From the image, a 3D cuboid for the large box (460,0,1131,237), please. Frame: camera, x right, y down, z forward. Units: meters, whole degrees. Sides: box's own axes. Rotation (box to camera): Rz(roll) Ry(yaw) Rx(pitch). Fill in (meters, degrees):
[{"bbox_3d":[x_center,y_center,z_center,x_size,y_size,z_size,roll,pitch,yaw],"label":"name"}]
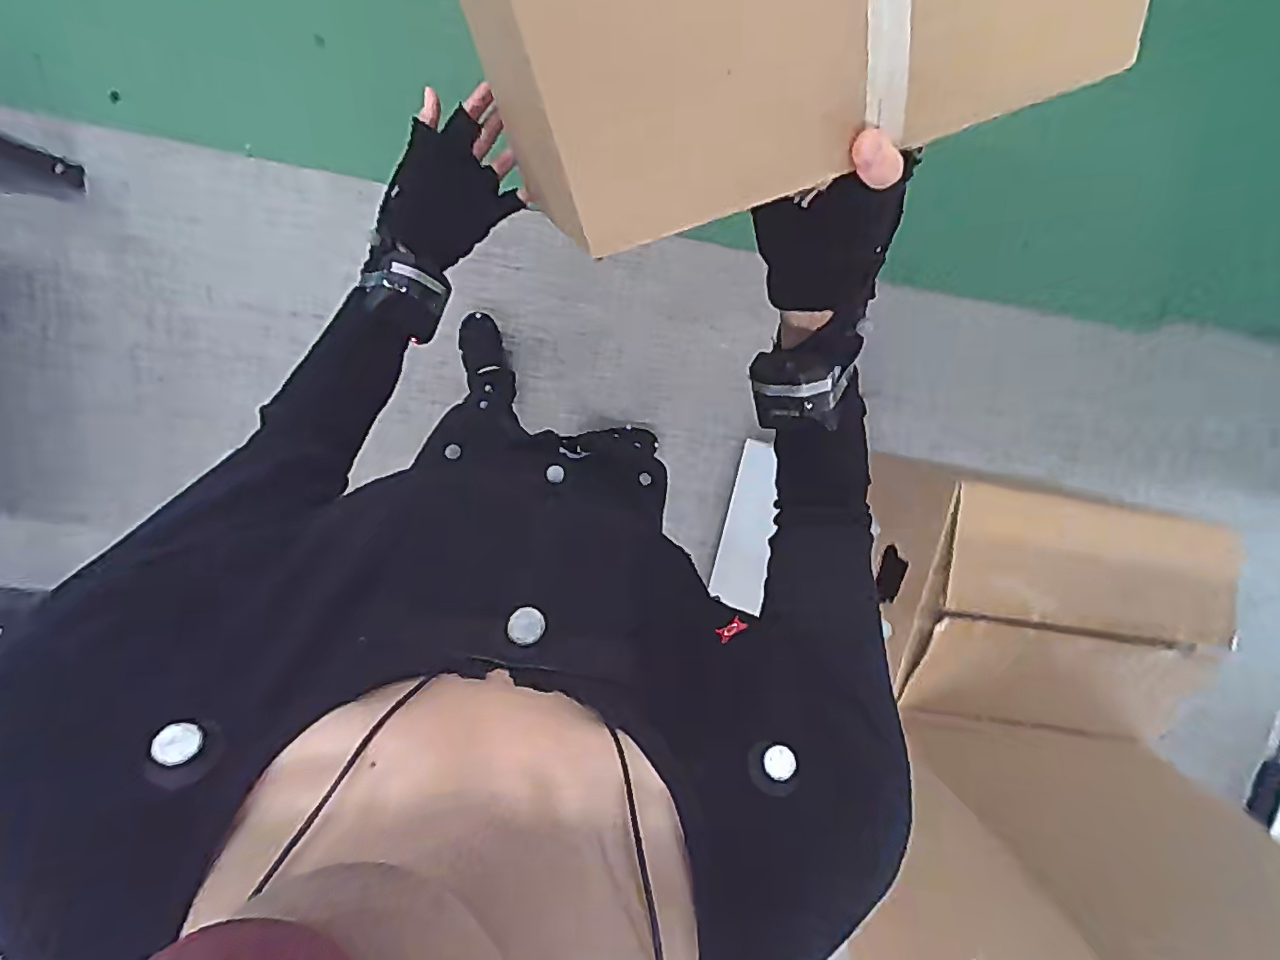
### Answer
[{"bbox_3d":[0.018,-0.401,0.292,0.320,0.320,0.408,-22,123,-4],"label":"large box"}]
